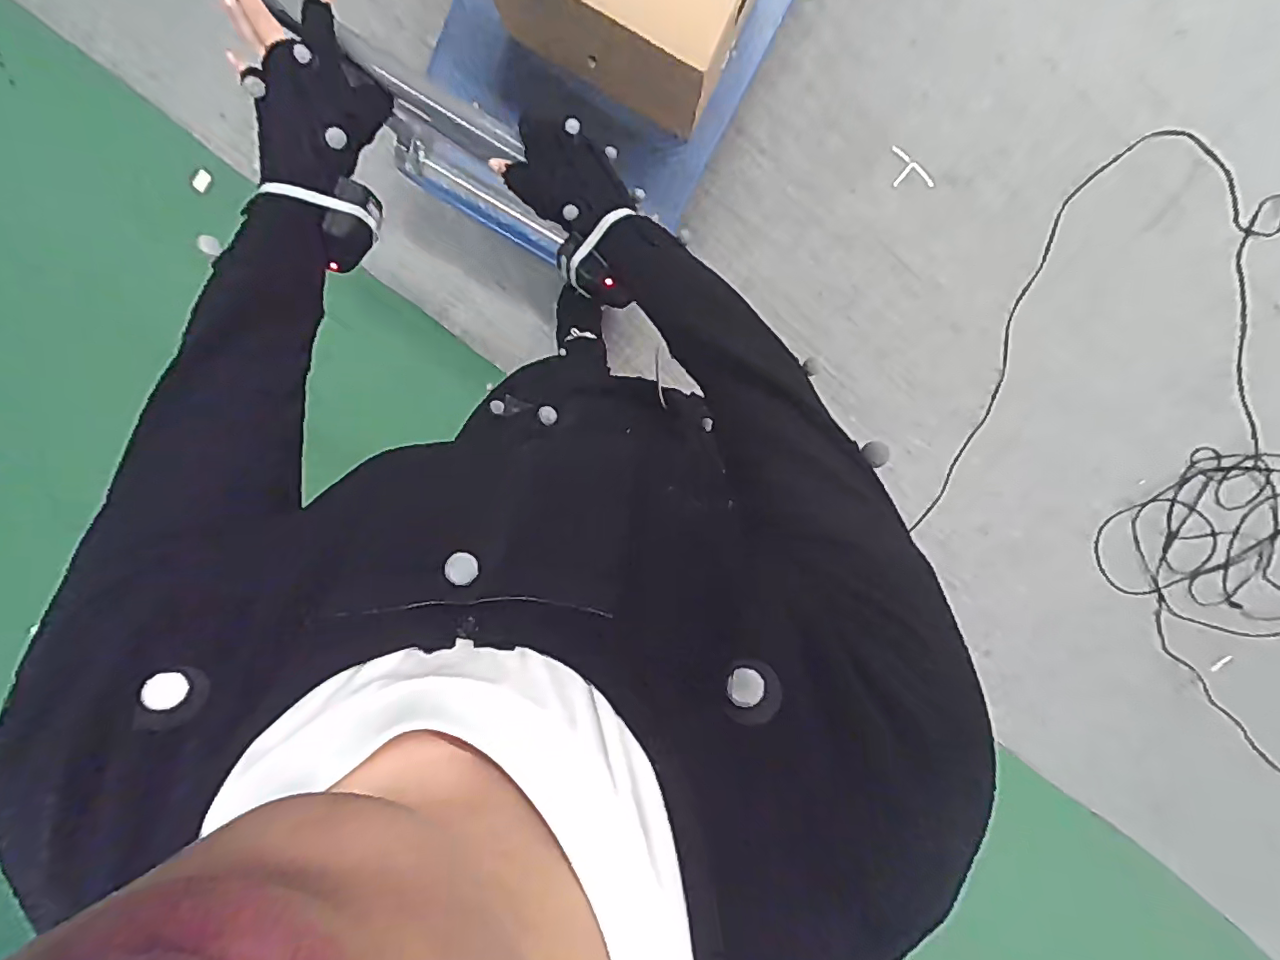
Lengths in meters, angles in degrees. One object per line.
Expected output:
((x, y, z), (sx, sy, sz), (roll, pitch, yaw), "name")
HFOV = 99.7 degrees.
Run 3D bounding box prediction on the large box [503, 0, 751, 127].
((-0.004, -0.889, 0.911), (0.408, 0.320, 0.320), (26, 104, -6), "large box")
